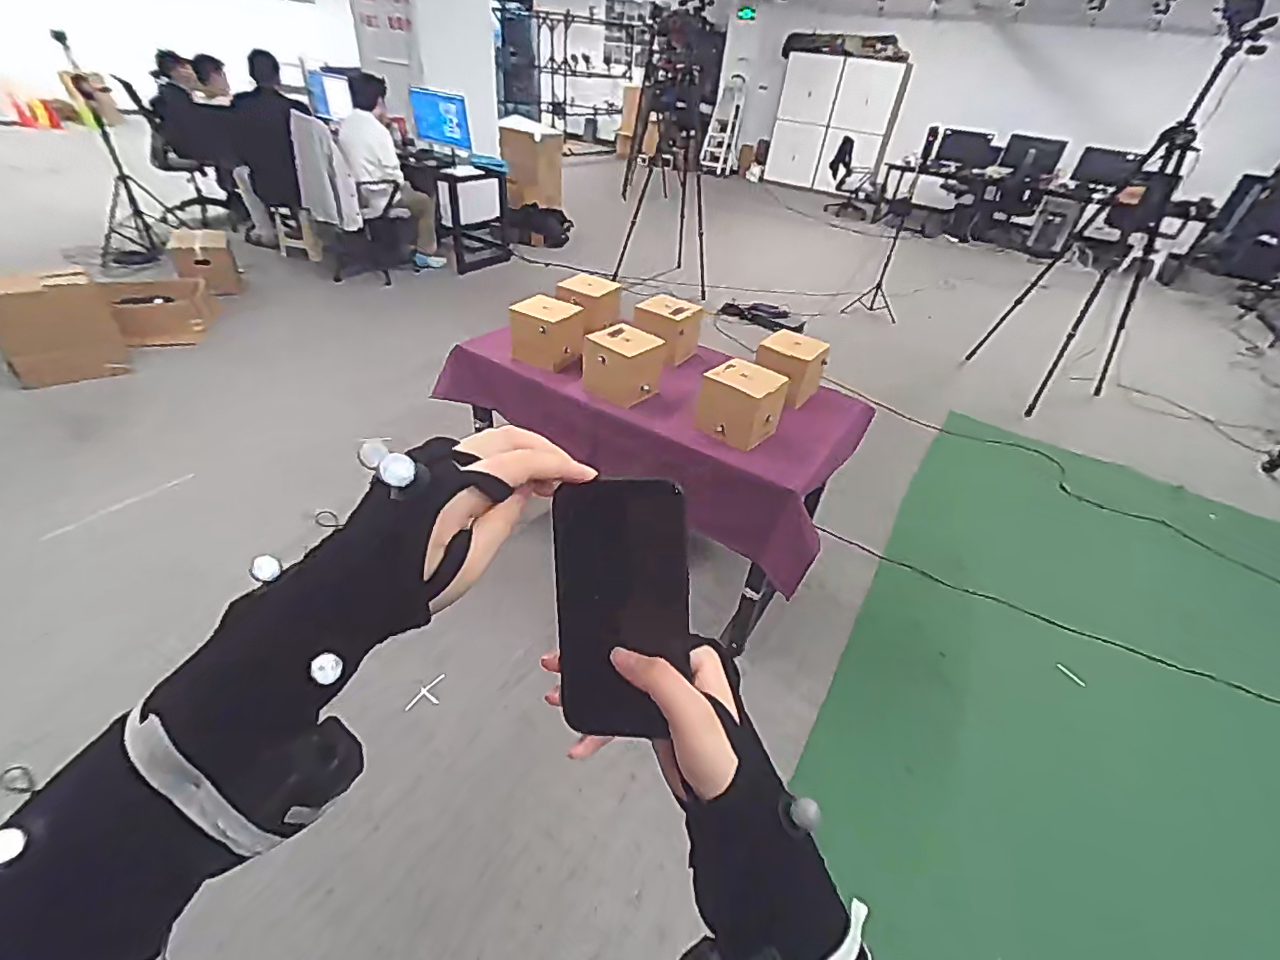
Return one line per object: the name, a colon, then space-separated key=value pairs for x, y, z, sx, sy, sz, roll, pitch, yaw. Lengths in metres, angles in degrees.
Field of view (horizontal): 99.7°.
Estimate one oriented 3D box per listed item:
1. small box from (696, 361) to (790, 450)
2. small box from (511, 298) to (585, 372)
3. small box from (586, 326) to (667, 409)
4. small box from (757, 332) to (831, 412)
small box: x=0.277 y=-0.200 z=1.482 sx=0.179 sy=0.176 sz=0.168 roll=32 pitch=43 yaw=28
small box: x=-0.296 y=-0.467 z=1.740 sx=0.179 sy=0.176 sz=0.168 roll=23 pitch=40 yaw=18
small box: x=-0.046 y=-0.334 z=1.606 sx=0.179 sy=0.176 sz=0.168 roll=31 pitch=44 yaw=27
small box: x=0.466 y=-0.338 z=1.691 sx=0.168 sy=0.176 sz=0.179 roll=28 pitch=43 yaw=26
